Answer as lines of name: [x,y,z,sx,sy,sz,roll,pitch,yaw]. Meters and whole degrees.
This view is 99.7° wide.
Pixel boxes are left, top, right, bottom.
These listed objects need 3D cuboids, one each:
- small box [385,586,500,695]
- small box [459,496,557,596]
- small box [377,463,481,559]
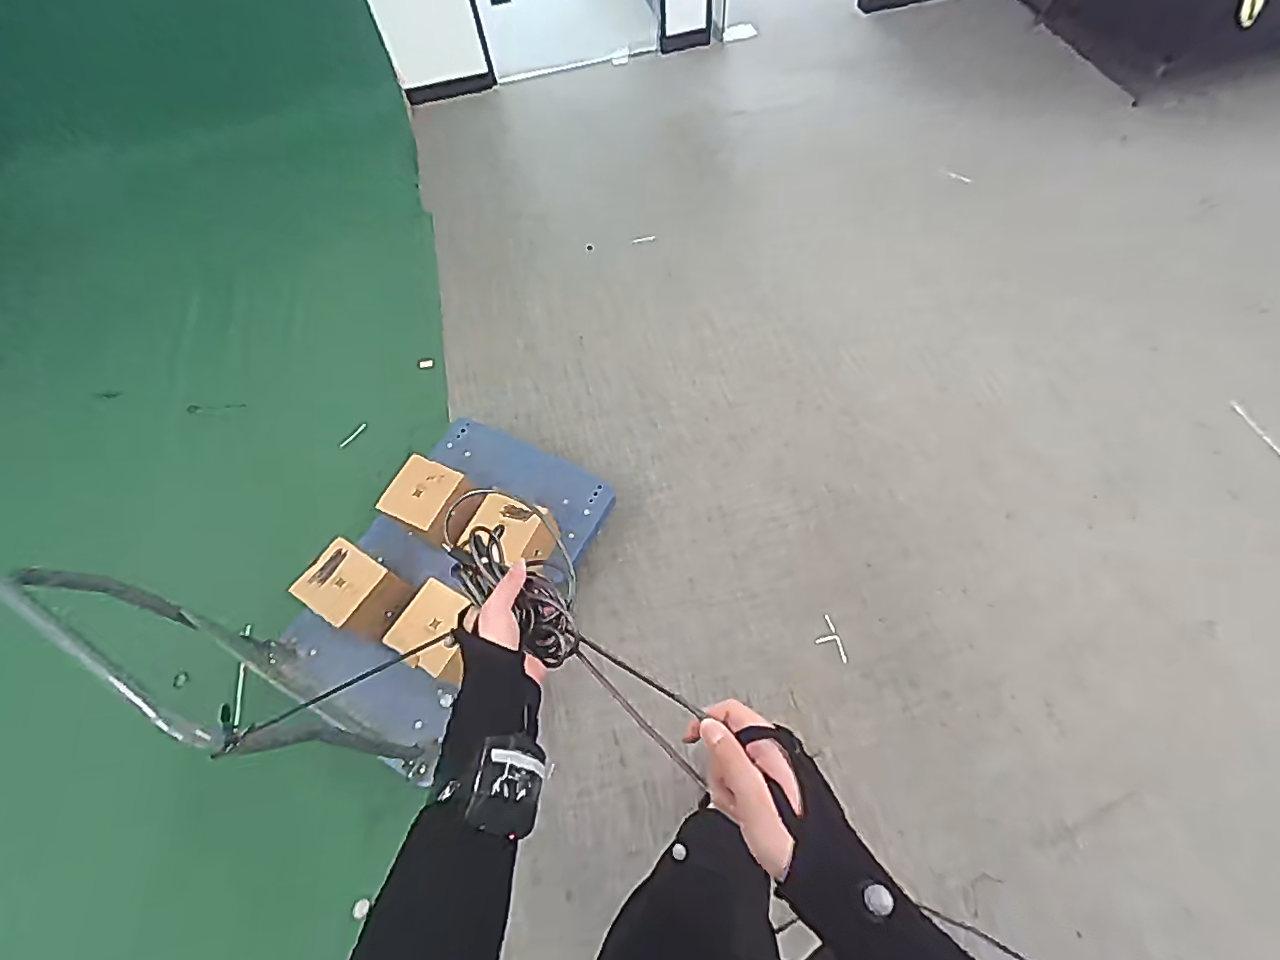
small box: [-0.457,0.387,1.291,0.168,0.176,0.179,25,67,16]
small box: [-0.328,0.173,1.394,0.168,0.176,0.179,21,66,15]
small box: [-0.556,0.089,1.457,0.168,0.176,0.179,21,65,14]
